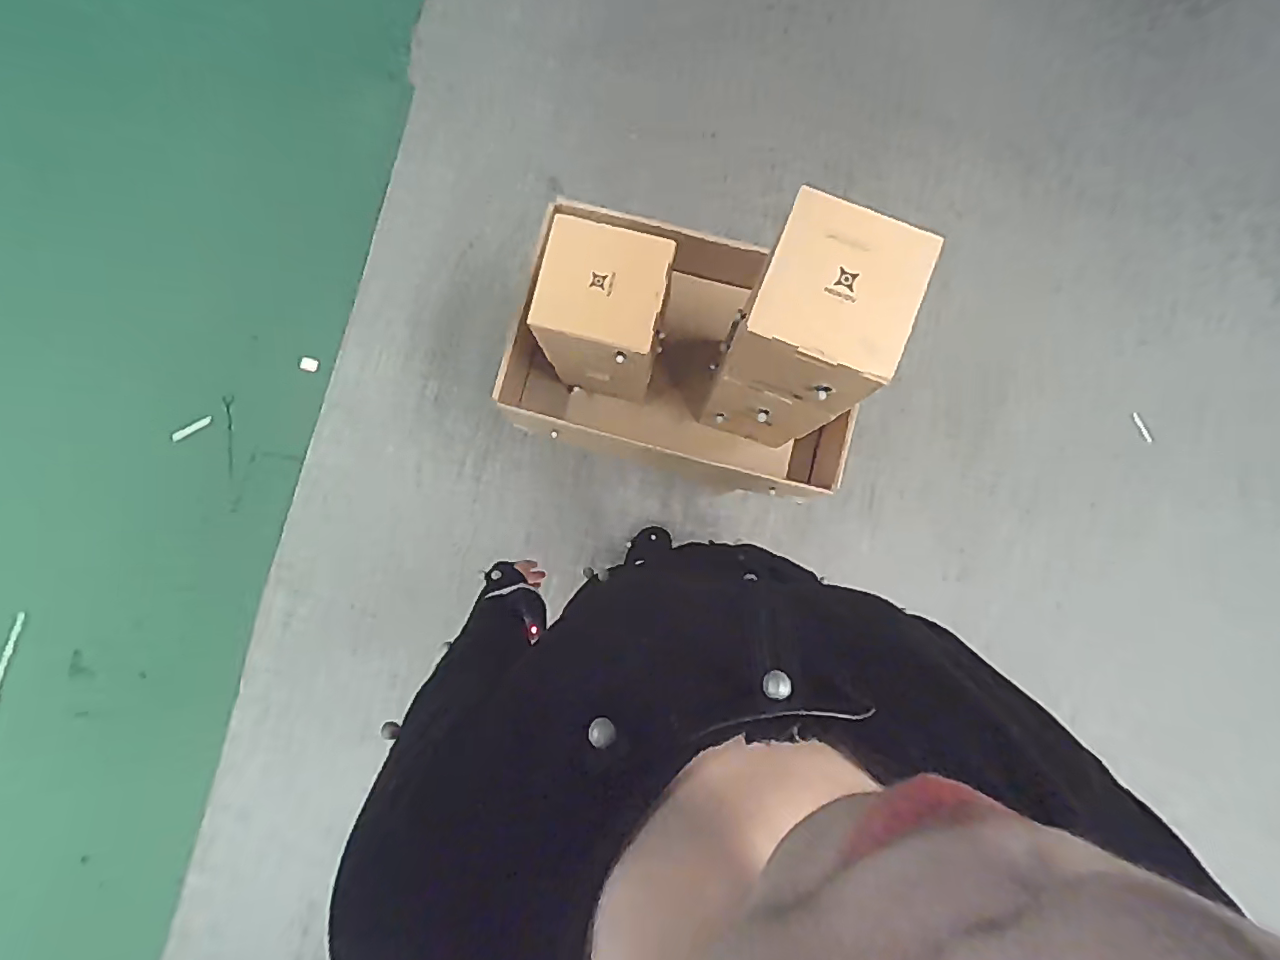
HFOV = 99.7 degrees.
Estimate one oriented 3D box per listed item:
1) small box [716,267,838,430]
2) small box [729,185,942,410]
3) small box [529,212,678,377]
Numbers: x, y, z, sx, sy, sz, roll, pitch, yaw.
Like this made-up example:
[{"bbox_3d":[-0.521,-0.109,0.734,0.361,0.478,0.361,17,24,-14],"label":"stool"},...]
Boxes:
[{"bbox_3d":[0.221,-0.187,0.816,0.168,0.176,0.179,21,87,2],"label":"small box"},{"bbox_3d":[0.216,-0.202,0.652,0.168,0.176,0.179,23,85,2],"label":"small box"},{"bbox_3d":[-0.050,-0.271,0.829,0.179,0.176,0.168,14,86,1],"label":"small box"}]
